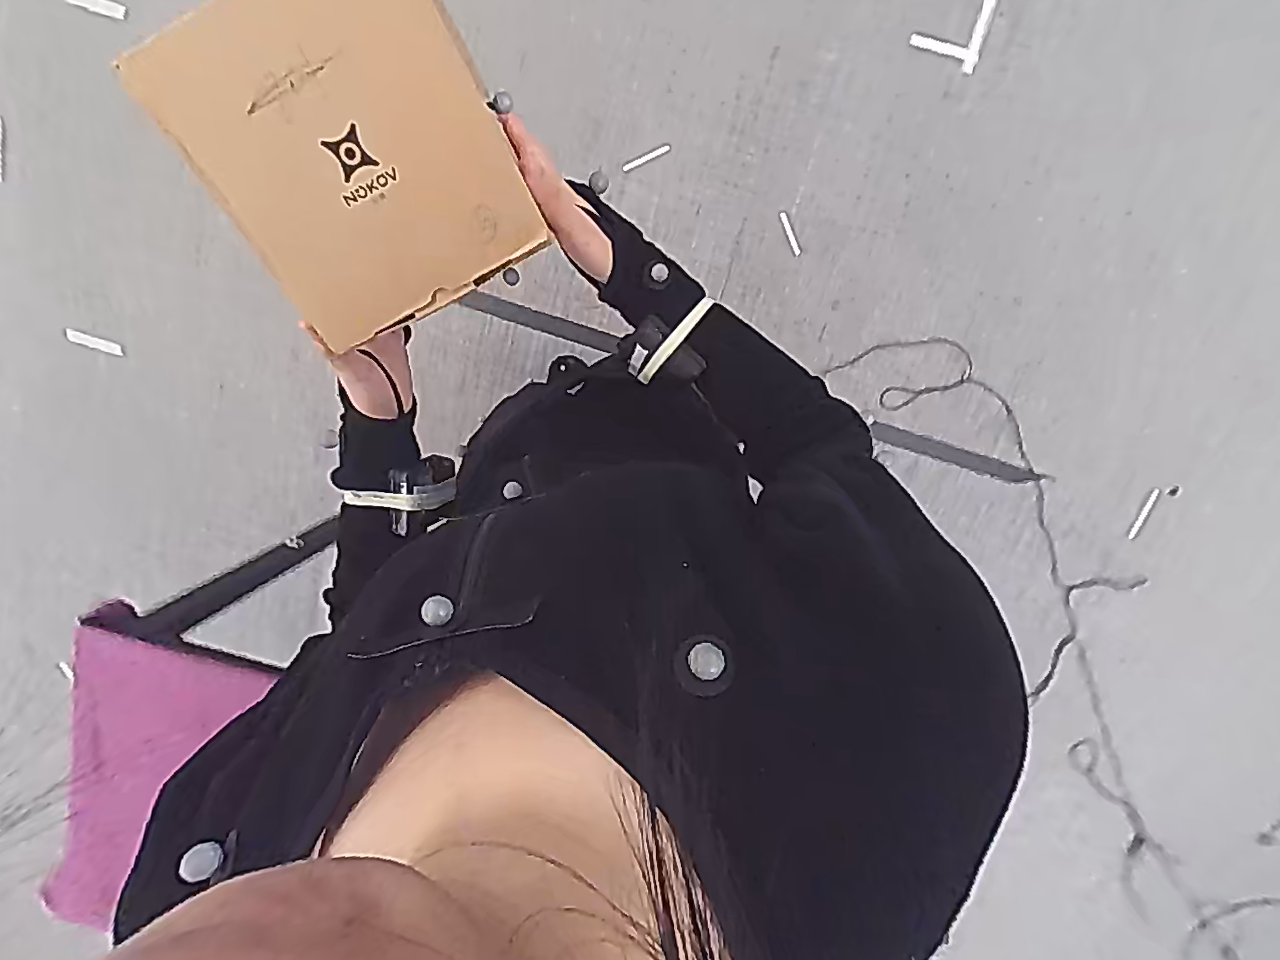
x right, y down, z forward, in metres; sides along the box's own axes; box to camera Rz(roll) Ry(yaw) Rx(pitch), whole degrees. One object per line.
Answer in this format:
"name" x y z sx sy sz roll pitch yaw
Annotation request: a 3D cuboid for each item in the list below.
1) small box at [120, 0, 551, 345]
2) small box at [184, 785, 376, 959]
"small box" -0.172 -0.225 0.382 0.168 0.176 0.179 -26 116 5
"small box" -0.541 0.608 0.829 0.179 0.176 0.168 15 104 -2
